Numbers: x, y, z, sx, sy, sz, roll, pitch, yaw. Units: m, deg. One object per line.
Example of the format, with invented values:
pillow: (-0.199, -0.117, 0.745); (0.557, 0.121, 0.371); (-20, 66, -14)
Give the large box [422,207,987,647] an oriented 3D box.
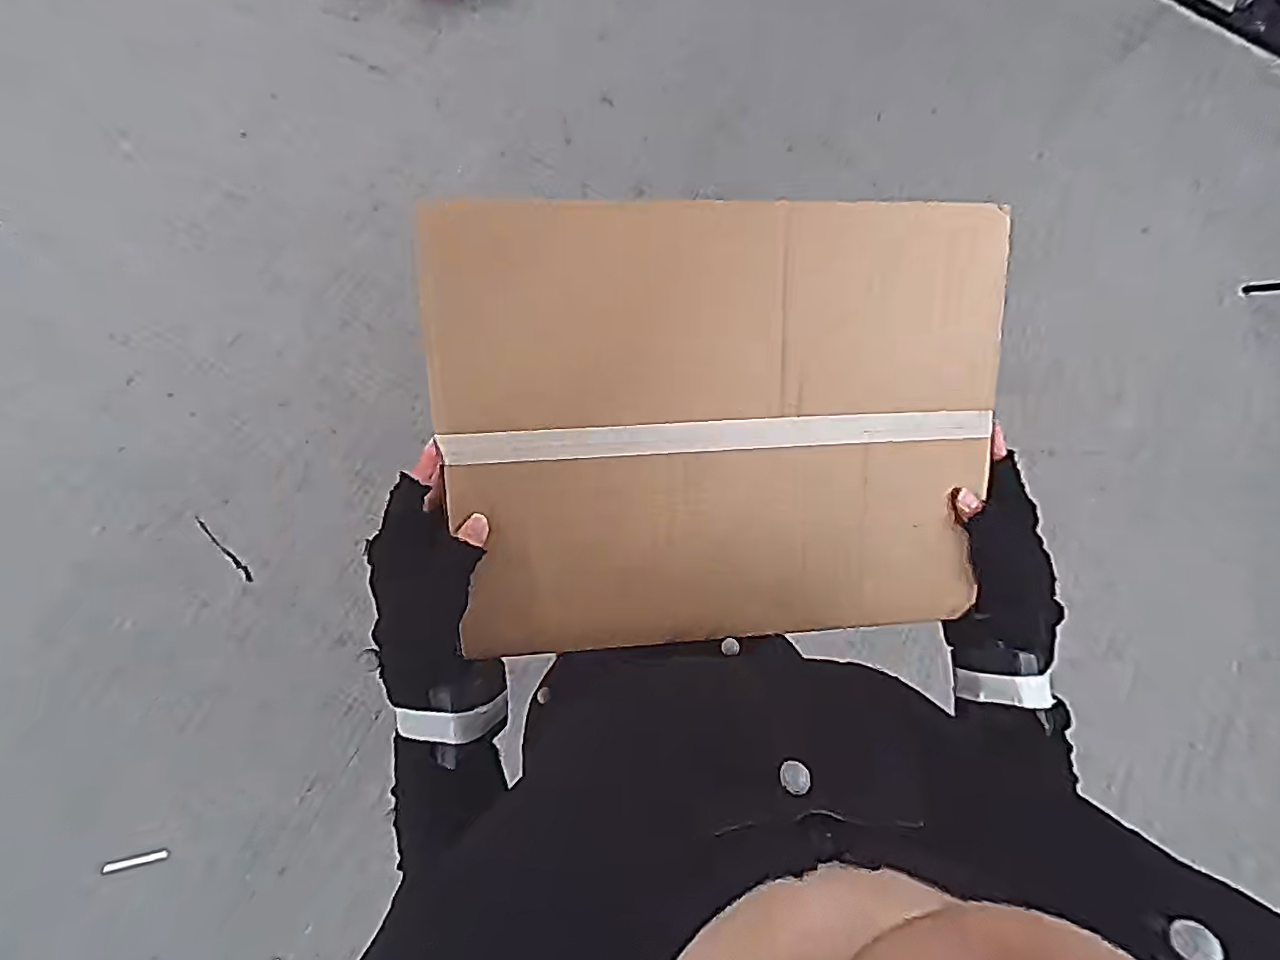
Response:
large box: (0.042, -0.063, 0.543); (0.408, 0.320, 0.320); (-3, 102, -6)
